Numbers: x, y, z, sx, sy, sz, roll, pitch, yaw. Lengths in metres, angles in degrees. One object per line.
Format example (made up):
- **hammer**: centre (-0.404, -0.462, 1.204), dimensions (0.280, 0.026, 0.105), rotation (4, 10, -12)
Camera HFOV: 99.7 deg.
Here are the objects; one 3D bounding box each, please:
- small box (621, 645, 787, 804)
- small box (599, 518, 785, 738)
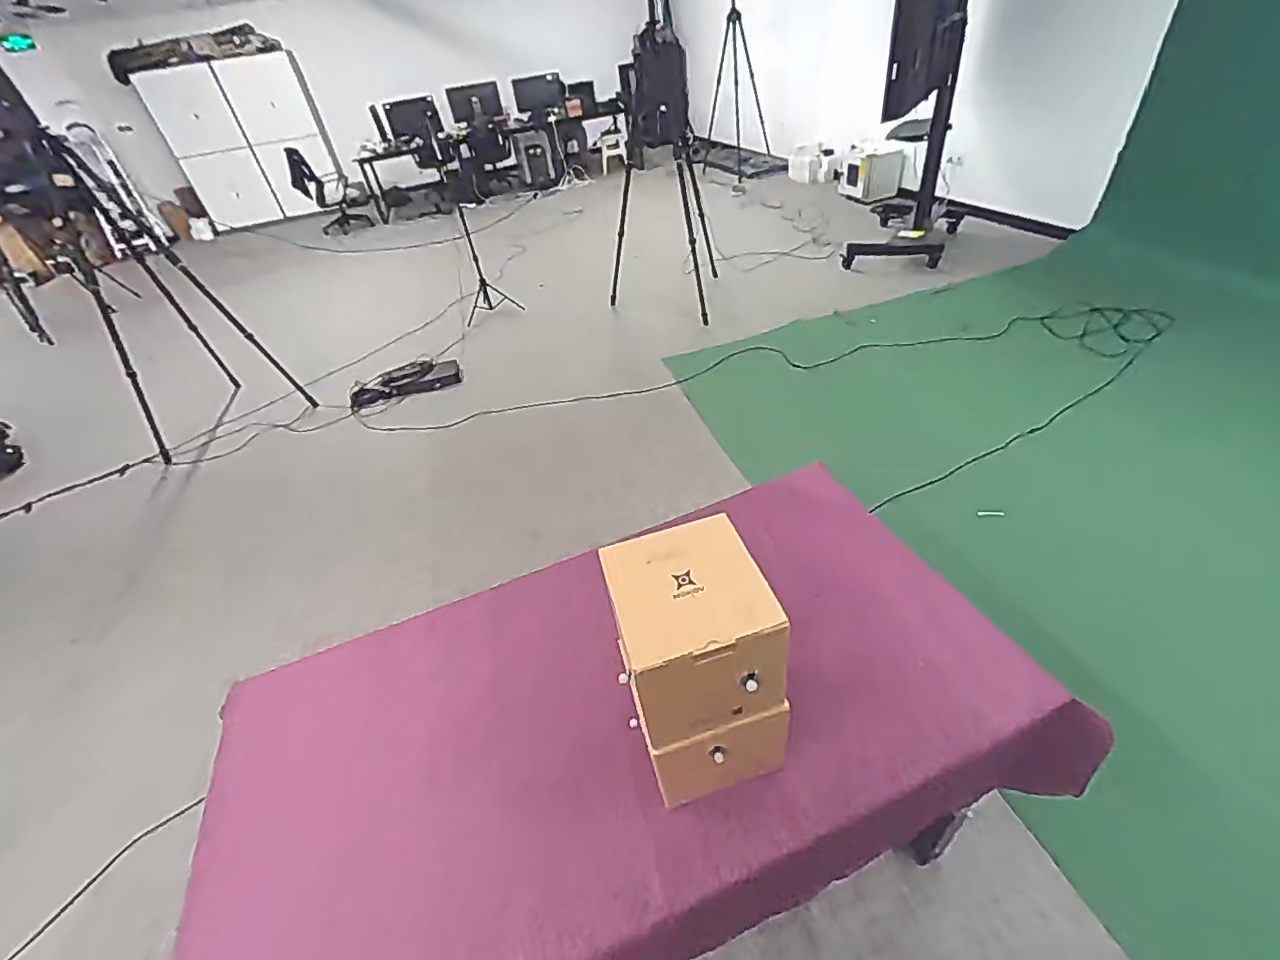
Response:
- **small box**: centre (0.088, 0.309, 0.741), dimensions (0.179, 0.176, 0.168), rotation (-17, 40, -6)
- **small box**: centre (0.061, 0.180, 0.645), dimensions (0.168, 0.176, 0.179), rotation (-16, 39, -6)
